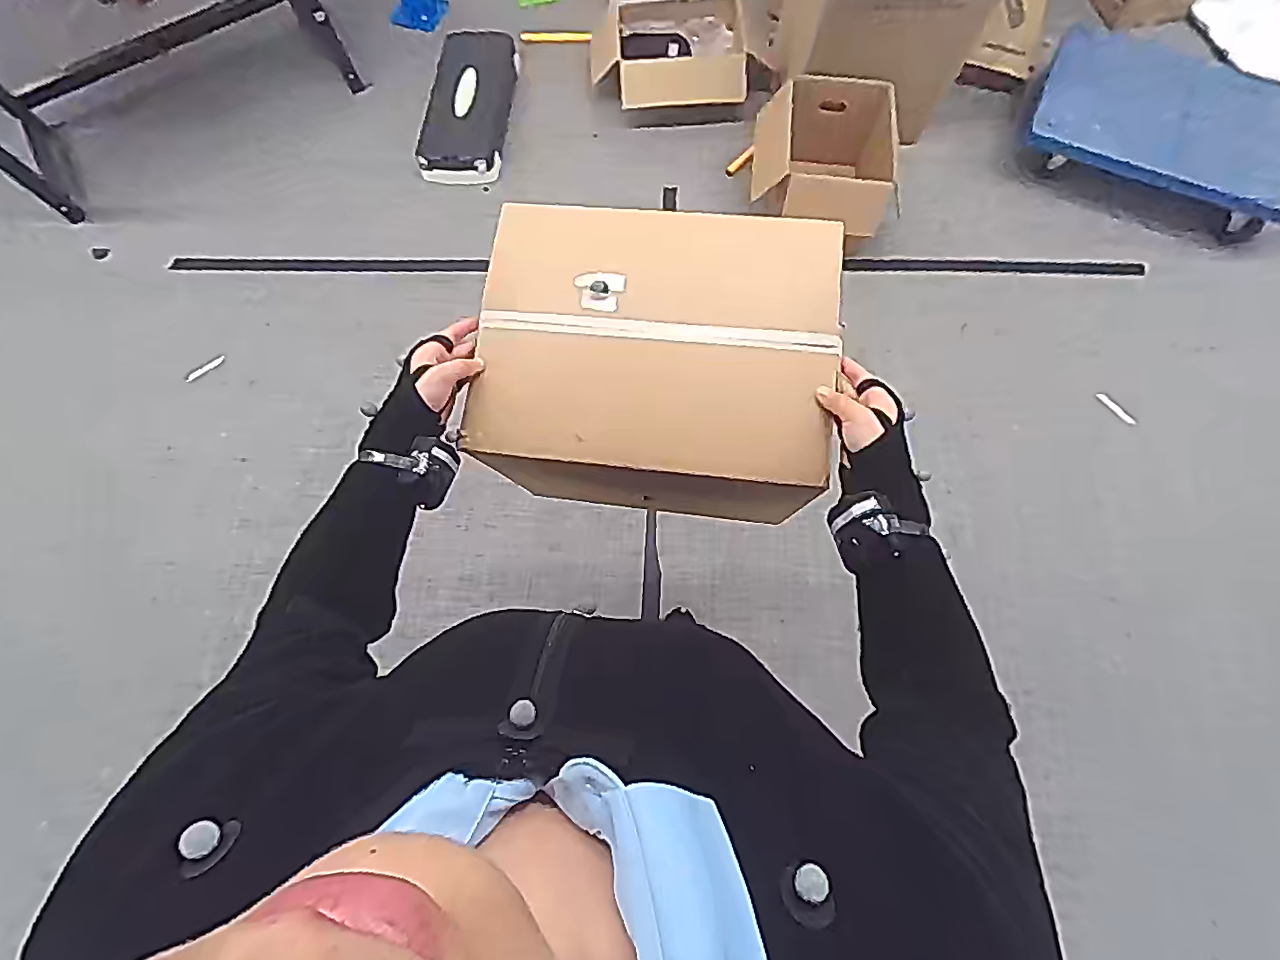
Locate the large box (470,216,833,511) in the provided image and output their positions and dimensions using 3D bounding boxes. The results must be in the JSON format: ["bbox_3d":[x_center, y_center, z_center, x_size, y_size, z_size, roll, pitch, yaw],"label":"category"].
[{"bbox_3d":[0.030,-0.136,0.765,0.408,0.320,0.320,5,78,6],"label":"large box"}]
